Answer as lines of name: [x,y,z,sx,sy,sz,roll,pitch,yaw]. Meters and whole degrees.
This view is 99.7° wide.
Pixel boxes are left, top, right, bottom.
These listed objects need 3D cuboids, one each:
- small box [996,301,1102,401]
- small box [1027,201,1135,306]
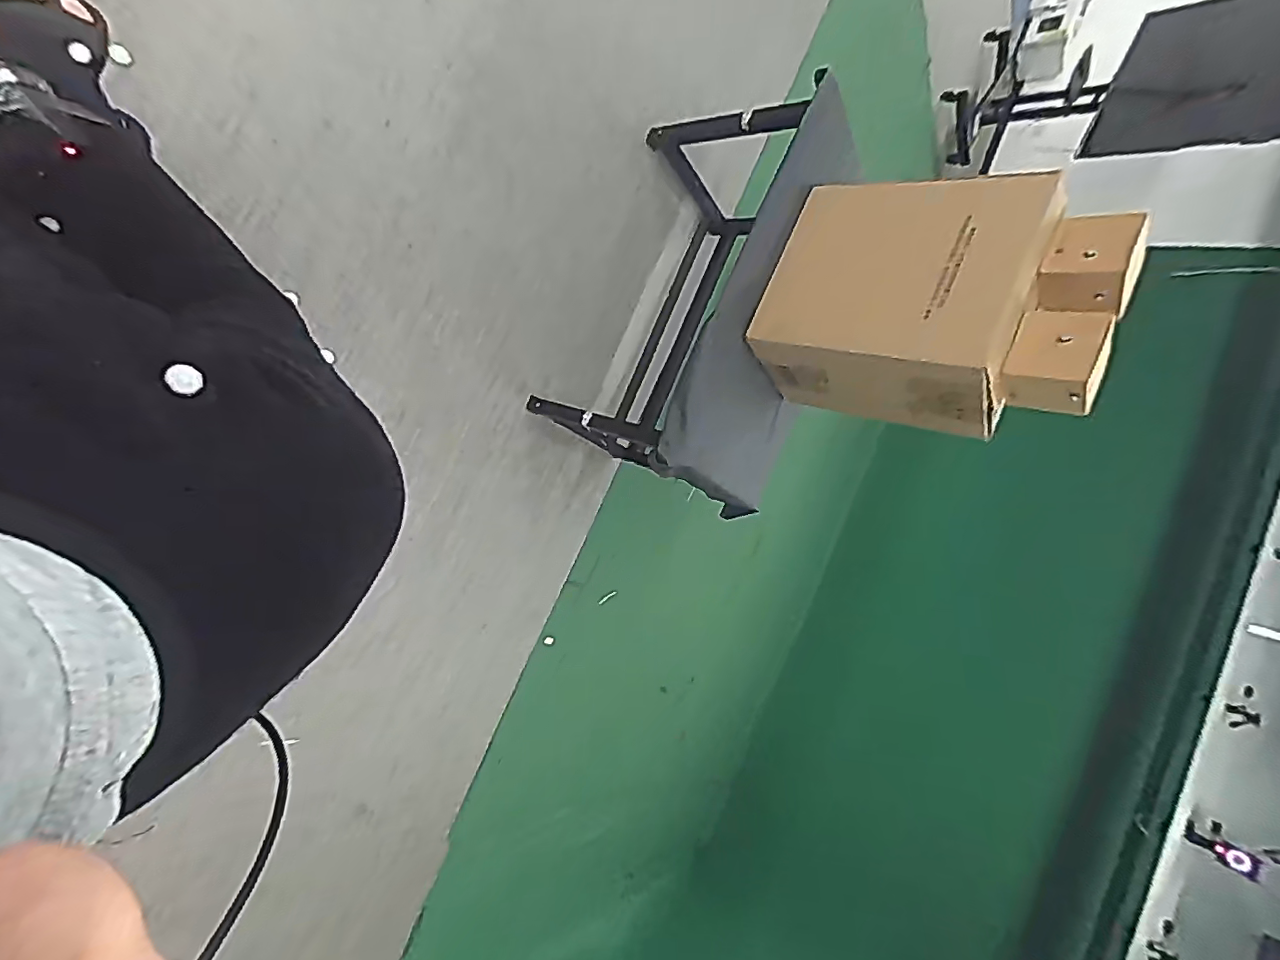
small box: [0.978,-0.311,1.302,0.168,0.176,0.179,30,79,-48]
small box: [1.076,-0.549,1.330,0.179,0.176,0.168,36,78,-48]
